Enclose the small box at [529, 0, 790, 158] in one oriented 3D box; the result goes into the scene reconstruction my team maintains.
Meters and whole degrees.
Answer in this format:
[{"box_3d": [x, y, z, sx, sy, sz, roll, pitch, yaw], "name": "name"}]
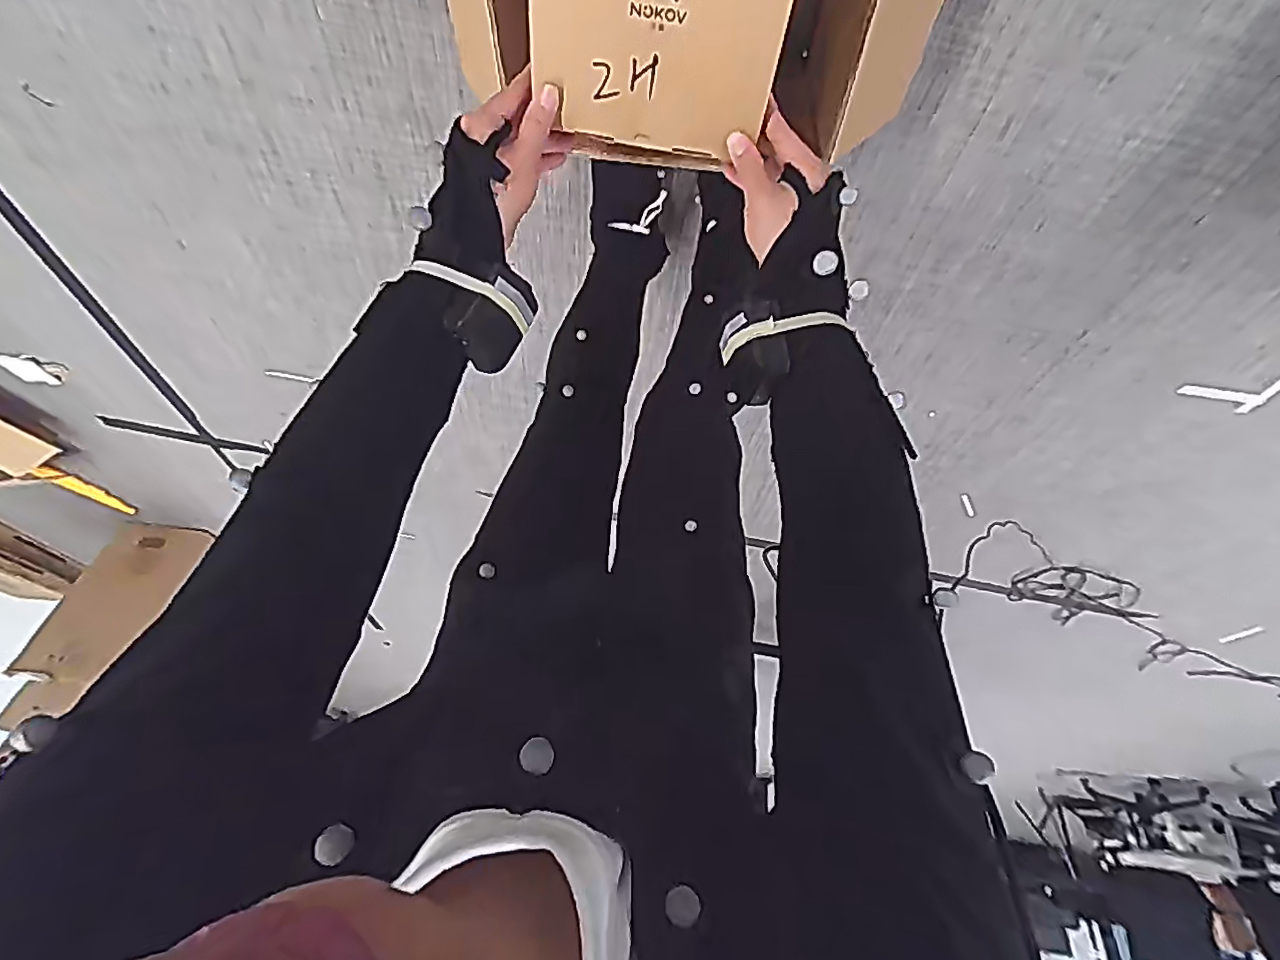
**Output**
[{"box_3d": [0.020, -0.366, 0.384, 0.168, 0.176, 0.179, 10, 140, -1], "name": "small box"}]
